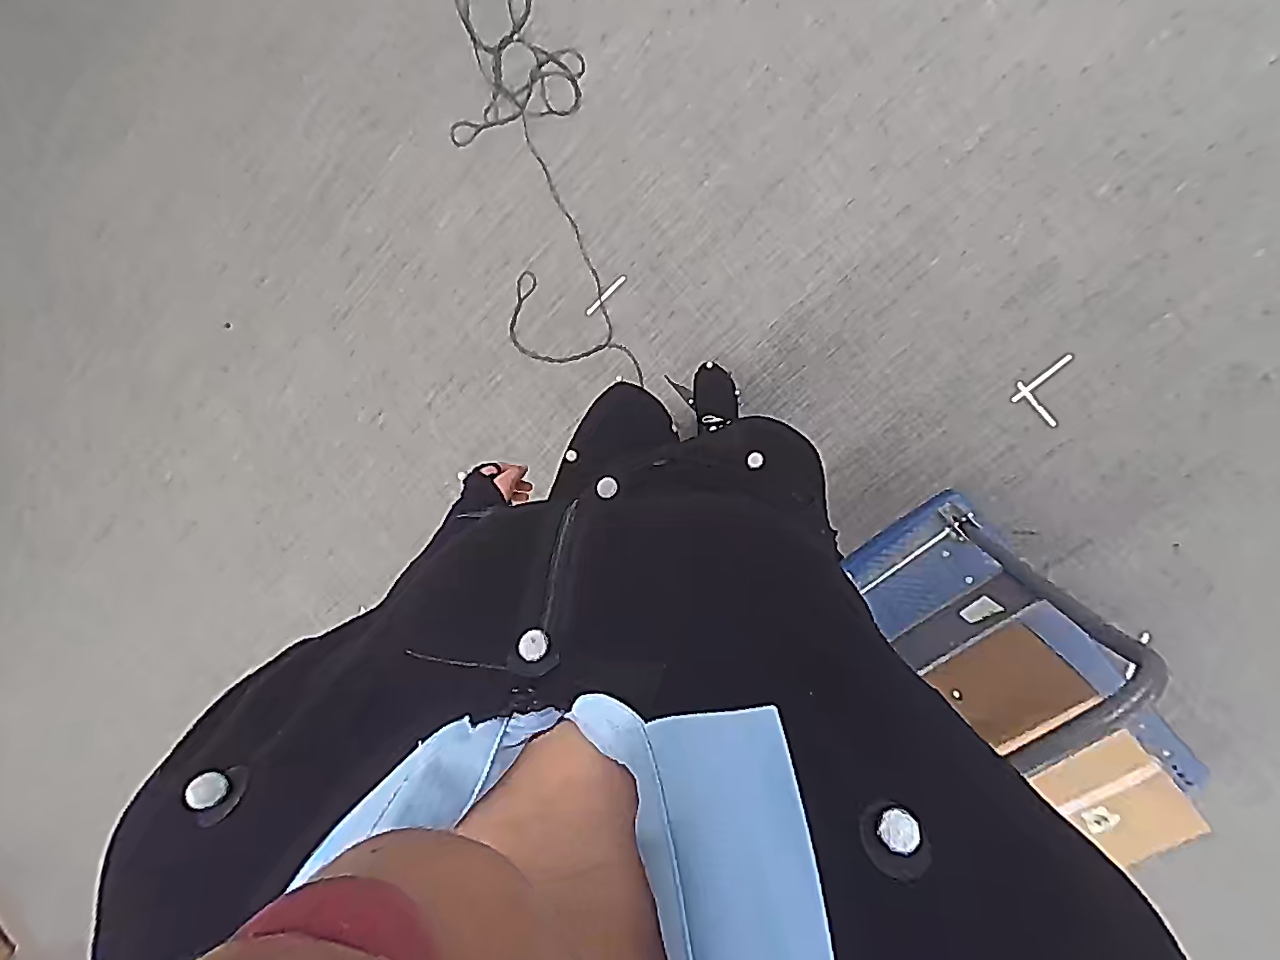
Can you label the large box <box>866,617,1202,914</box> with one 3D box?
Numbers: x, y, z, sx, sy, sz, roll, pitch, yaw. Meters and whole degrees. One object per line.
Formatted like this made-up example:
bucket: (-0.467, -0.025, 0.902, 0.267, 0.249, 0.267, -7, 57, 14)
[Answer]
large box: (0.758, 0.566, 1.124, 0.408, 0.320, 0.320, -40, 92, 14)
